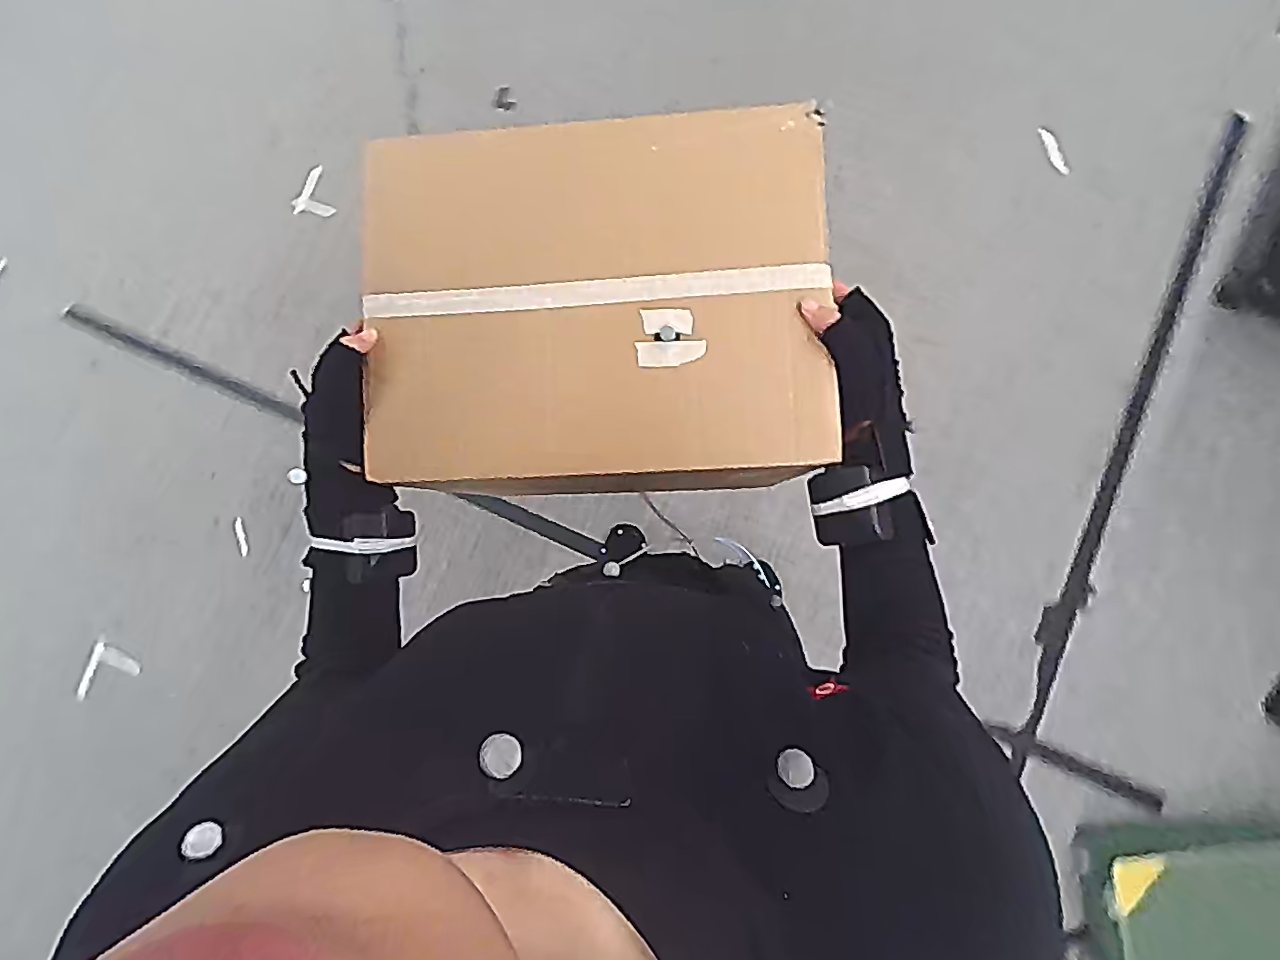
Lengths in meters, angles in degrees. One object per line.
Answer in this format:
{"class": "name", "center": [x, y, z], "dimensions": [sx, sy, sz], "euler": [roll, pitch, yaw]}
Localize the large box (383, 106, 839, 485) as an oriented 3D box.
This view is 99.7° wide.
{"class": "large box", "center": [-0.026, -0.161, 0.625], "dimensions": [0.408, 0.320, 0.320], "euler": [-1, 87, 3]}
